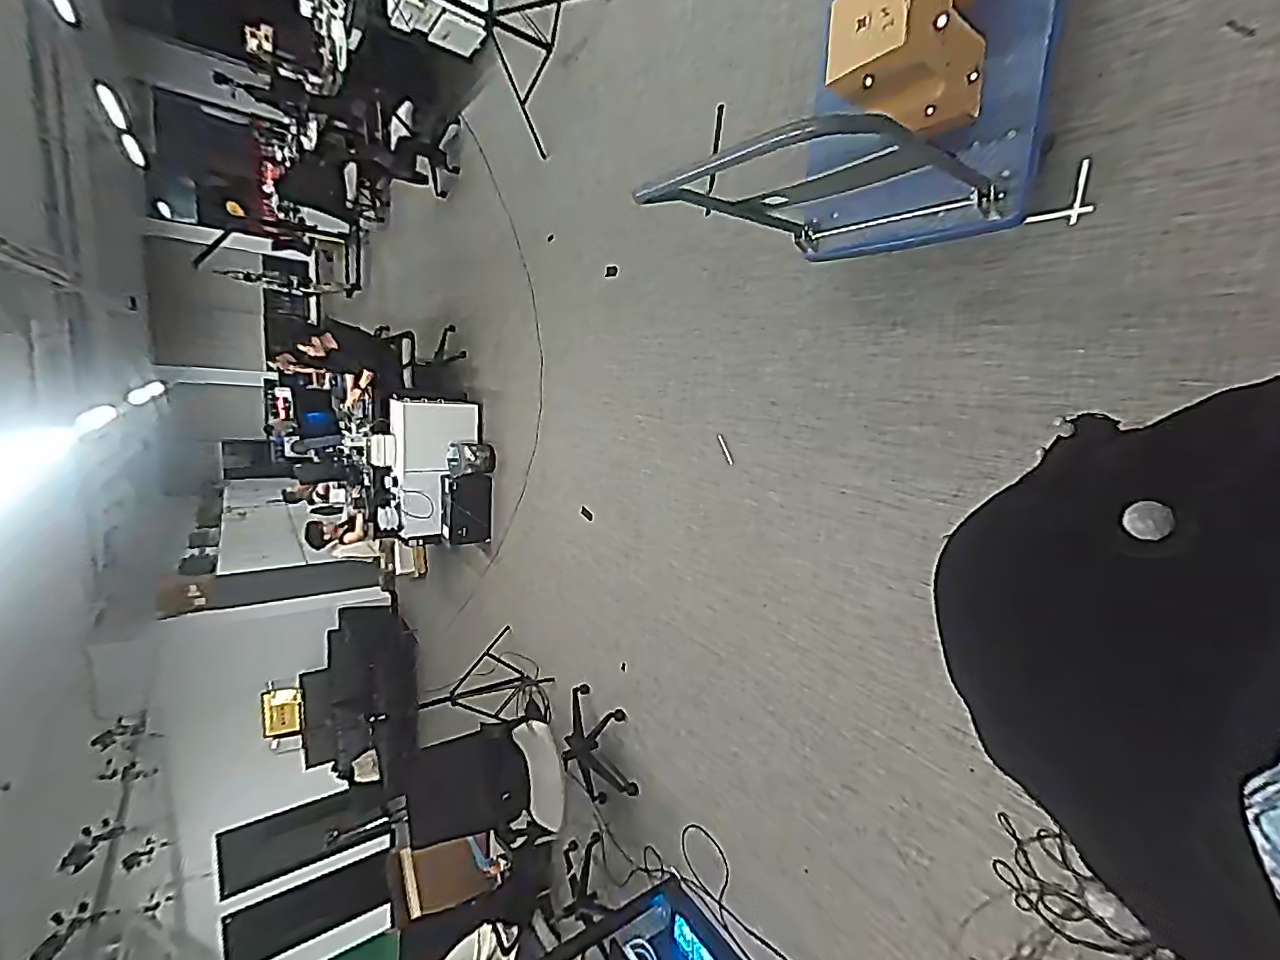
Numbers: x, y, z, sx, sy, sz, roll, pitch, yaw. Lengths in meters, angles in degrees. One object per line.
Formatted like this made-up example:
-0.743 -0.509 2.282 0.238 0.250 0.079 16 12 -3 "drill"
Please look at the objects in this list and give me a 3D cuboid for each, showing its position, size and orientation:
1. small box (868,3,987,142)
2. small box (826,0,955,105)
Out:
0.645 -0.900 1.217 0.179 0.176 0.168 10 101 52 "small box"
0.514 -0.918 1.115 0.179 0.176 0.168 11 102 52 "small box"
